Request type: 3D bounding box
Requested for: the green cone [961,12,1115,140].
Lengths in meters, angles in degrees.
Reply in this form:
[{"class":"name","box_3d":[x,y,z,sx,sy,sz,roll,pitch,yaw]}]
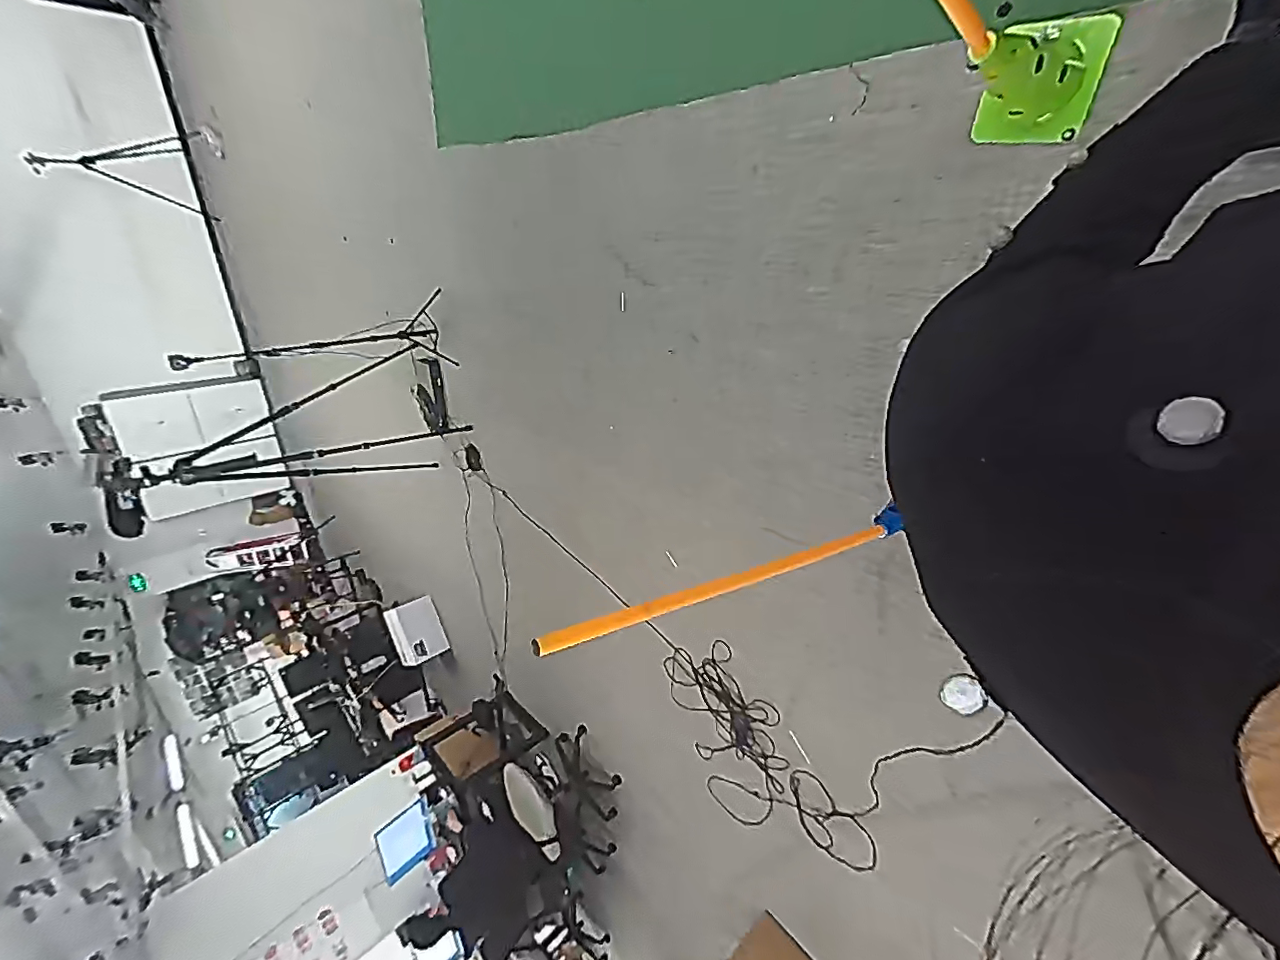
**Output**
[{"class":"green cone","box_3d":[0.673,-0.754,0.979,0.202,0.368,0.200,29,126,39]}]
